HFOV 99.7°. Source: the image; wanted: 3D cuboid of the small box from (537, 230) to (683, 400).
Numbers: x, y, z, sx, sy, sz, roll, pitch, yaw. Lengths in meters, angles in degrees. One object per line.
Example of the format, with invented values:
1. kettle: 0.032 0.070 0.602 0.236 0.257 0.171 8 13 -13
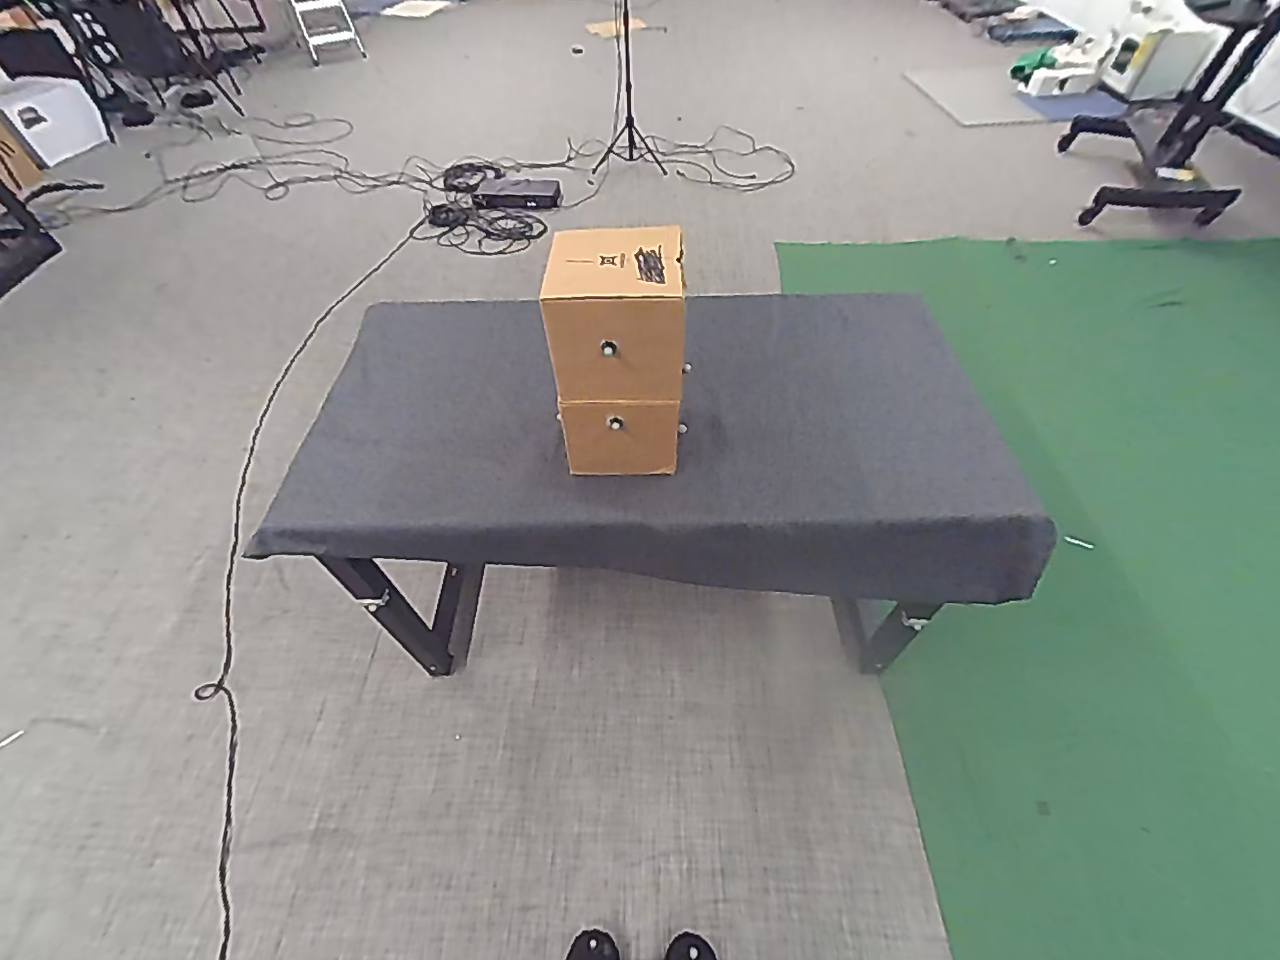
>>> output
1. small box: -0.031 -0.225 0.753 0.179 0.176 0.168 0 52 3

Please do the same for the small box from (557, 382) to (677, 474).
1. small box: -0.031 -0.122 0.881 0.179 0.176 0.168 0 53 0
